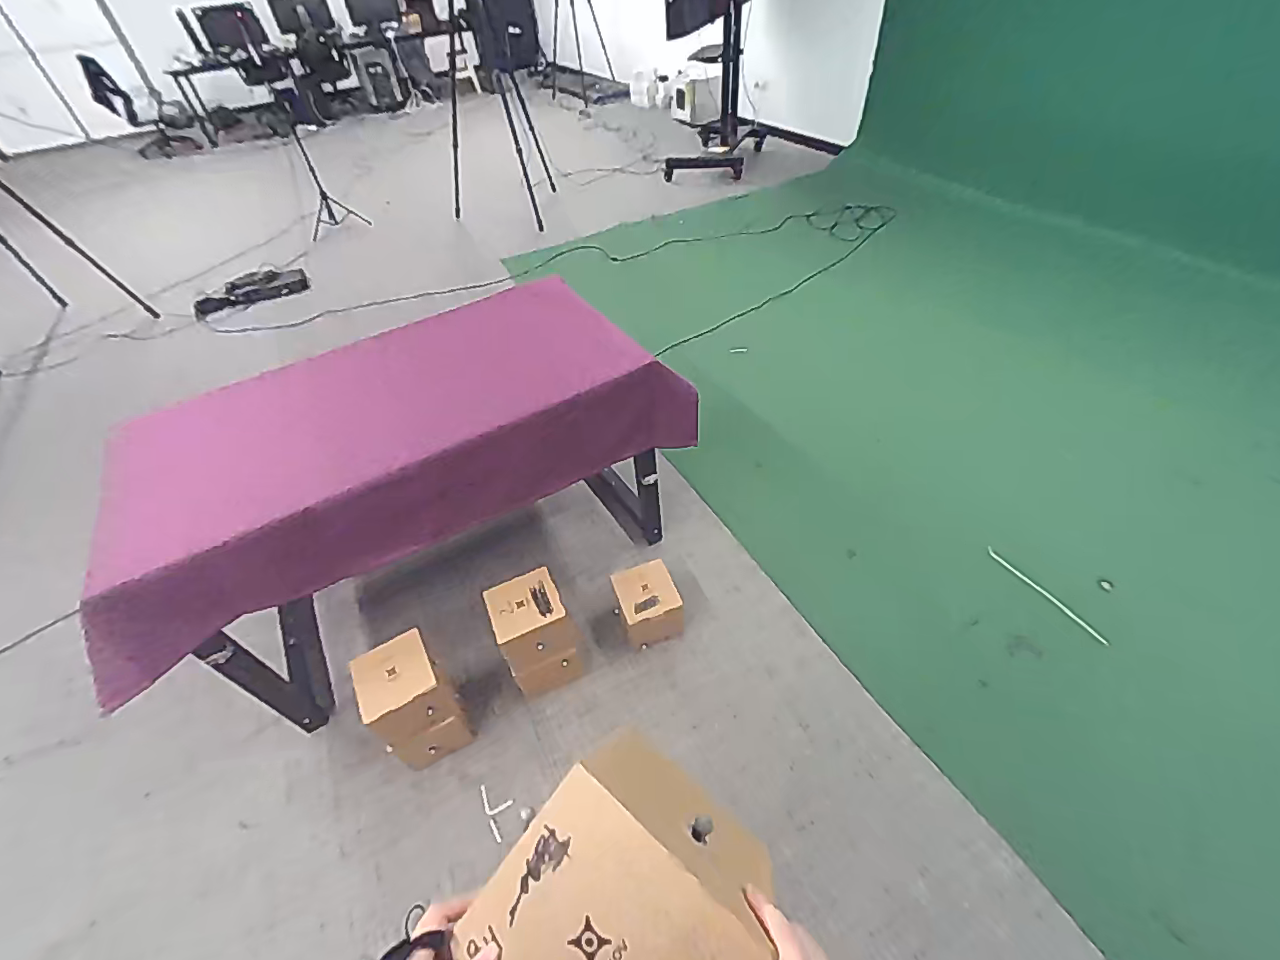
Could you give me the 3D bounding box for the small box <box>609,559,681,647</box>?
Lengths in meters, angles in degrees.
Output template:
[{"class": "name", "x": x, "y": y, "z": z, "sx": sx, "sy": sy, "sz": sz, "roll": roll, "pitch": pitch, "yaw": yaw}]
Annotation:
[{"class": "small box", "x": 0.018, "y": 0.370, "z": 1.601, "sx": 0.168, "sy": 0.176, "sz": 0.179, "roll": -17, "pitch": 46, "yaw": -11}]
